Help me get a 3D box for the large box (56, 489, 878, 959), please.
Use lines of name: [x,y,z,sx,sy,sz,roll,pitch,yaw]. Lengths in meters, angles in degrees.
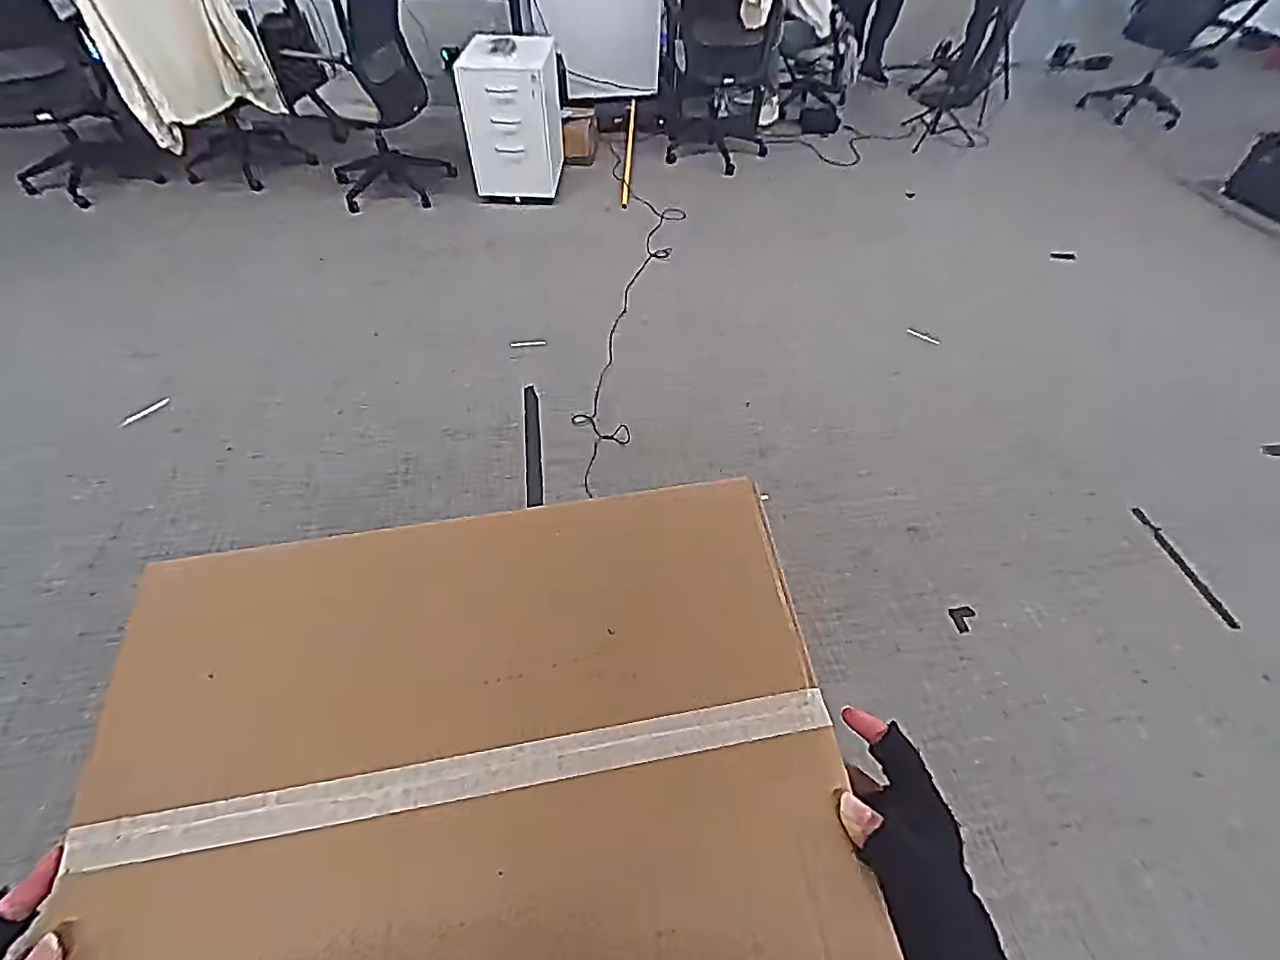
large box: [-0.097,0.238,0.438,0.408,0.320,0.320,-8,60,-5]
